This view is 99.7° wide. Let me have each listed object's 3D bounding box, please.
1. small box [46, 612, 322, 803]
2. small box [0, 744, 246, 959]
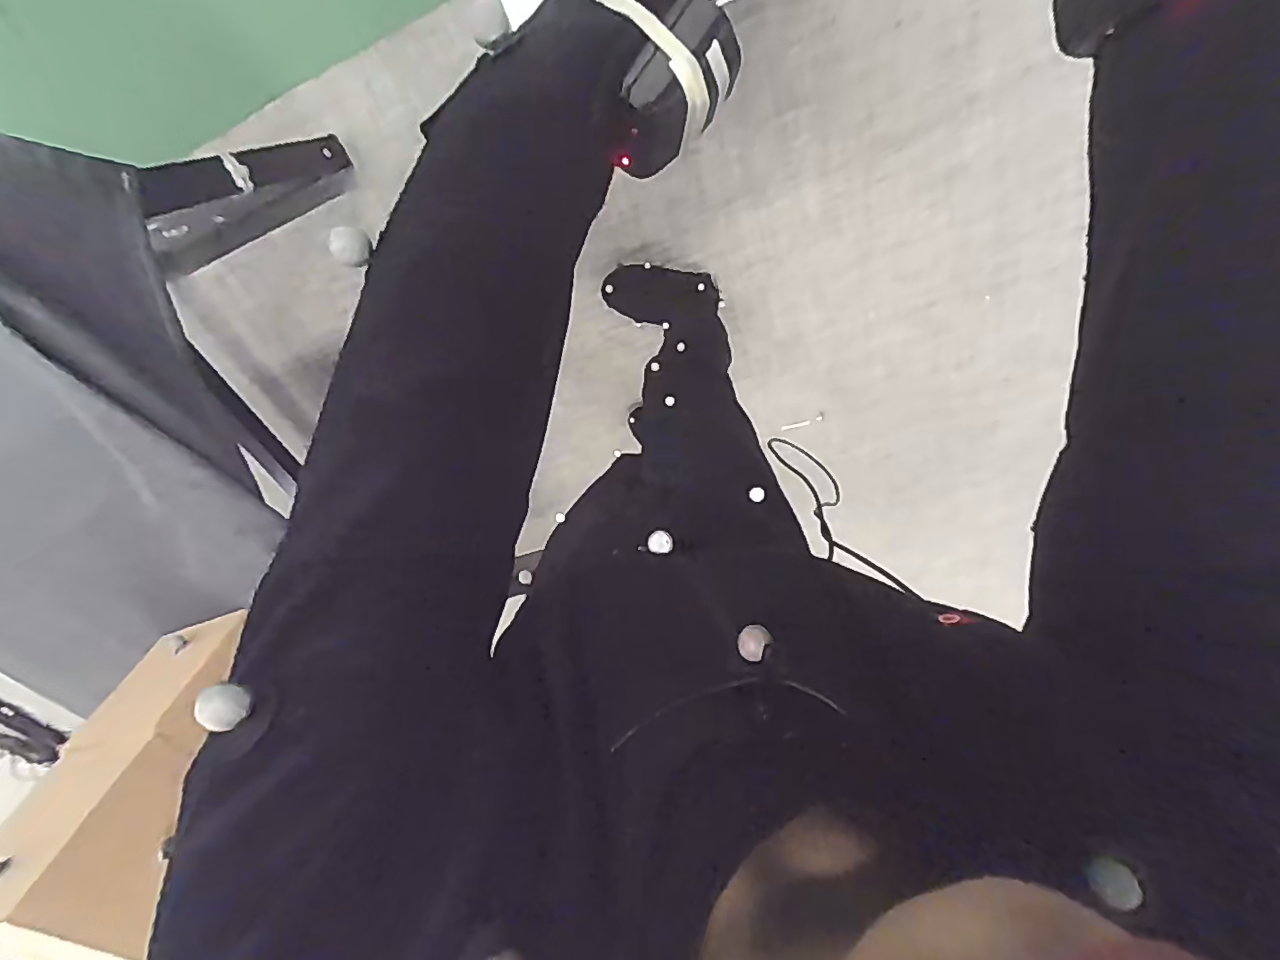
[{"bbox_3d":[-0.561,0.297,0.695,0.179,0.176,0.168,-18,124,17],"label":"small box"},{"bbox_3d":[-0.565,0.400,0.564,0.179,0.176,0.168,-19,122,16],"label":"small box"}]
